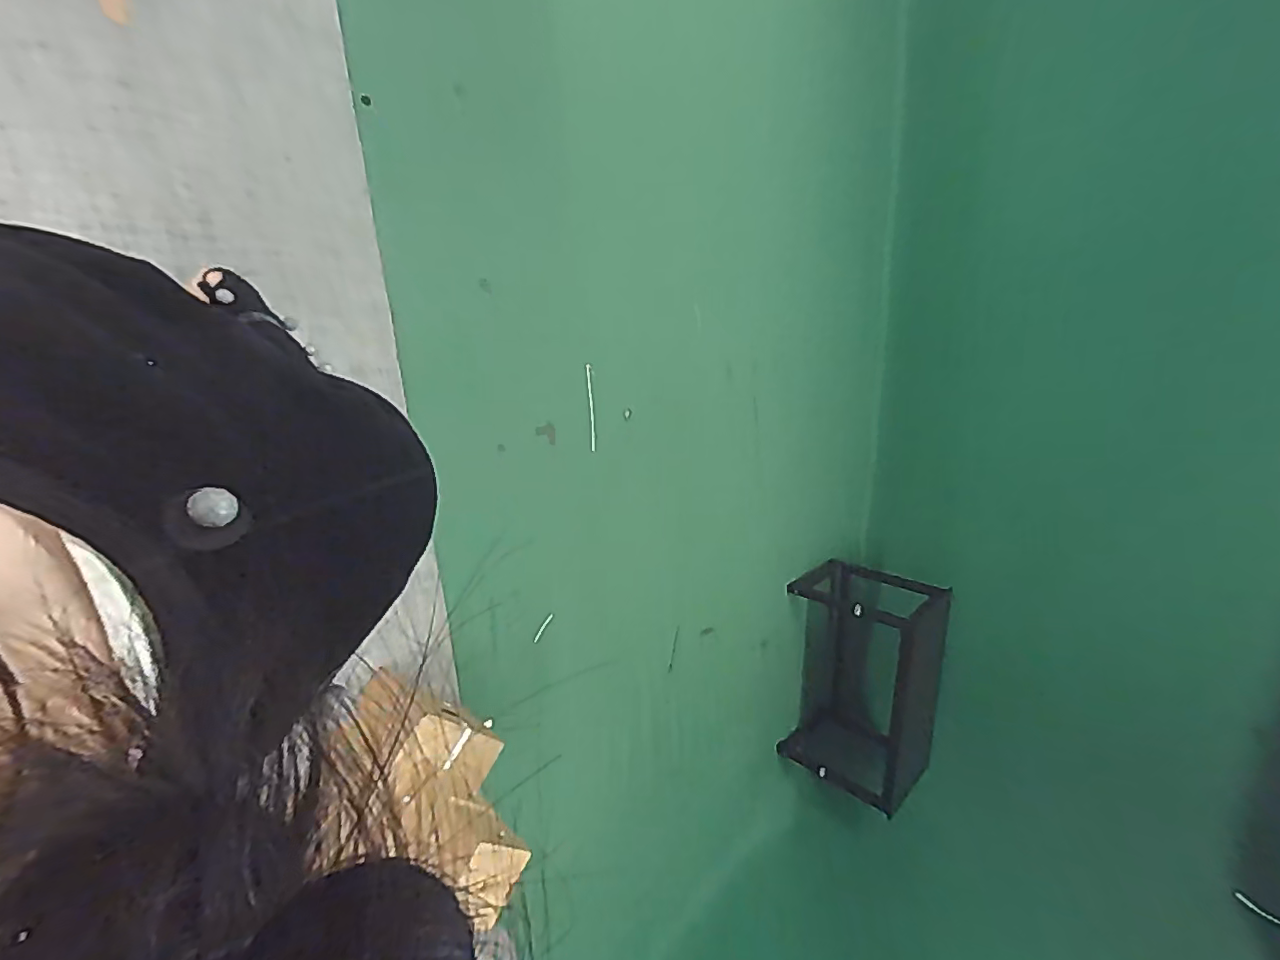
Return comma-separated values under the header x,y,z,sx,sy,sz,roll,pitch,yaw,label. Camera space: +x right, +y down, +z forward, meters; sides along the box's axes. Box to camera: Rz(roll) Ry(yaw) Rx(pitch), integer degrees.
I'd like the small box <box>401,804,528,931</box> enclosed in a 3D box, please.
x,y,z,sx,sy,sz,roll,pitch,yaw,label
-0.397,0.869,1.221,0.168,0.176,0.179,-58,133,-20,small box

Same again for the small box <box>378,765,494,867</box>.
x,y,z,sx,sy,sz,roll,pitch,yaw,label
-0.506,0.841,1.340,0.168,0.176,0.179,-55,132,-21,small box
